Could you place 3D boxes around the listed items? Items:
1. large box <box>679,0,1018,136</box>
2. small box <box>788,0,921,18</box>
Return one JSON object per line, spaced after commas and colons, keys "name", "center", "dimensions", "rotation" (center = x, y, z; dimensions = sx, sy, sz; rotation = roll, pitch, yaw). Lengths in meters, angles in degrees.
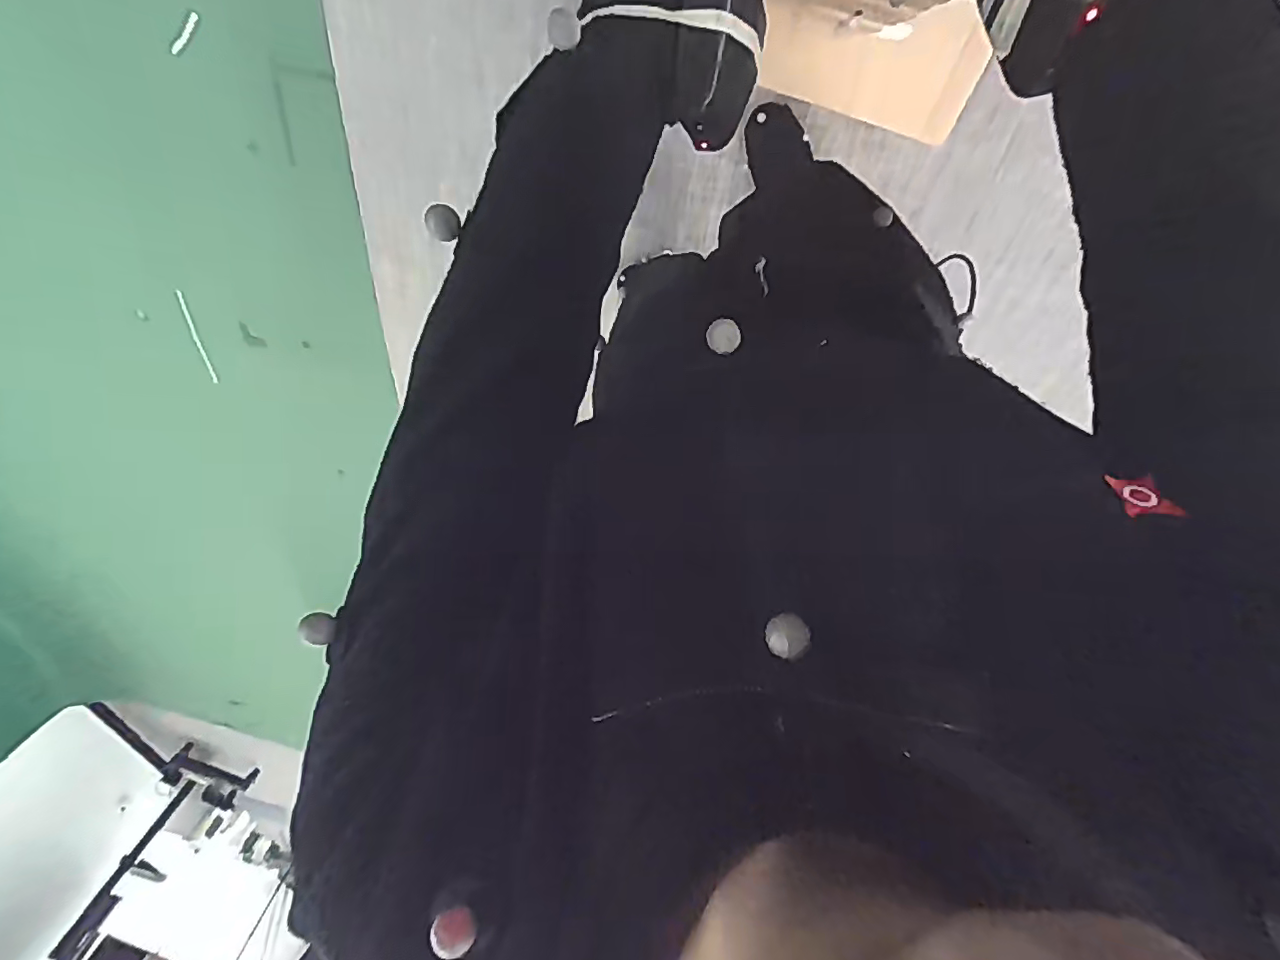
{"name": "large box", "center": [0.302, -0.738, 0.770], "dimensions": [0.408, 0.320, 0.320], "rotation": [18, 131, 0]}
{"name": "small box", "center": [0.175, -0.514, 0.455], "dimensions": [0.179, 0.176, 0.168], "rotation": [17, 129, 3]}
